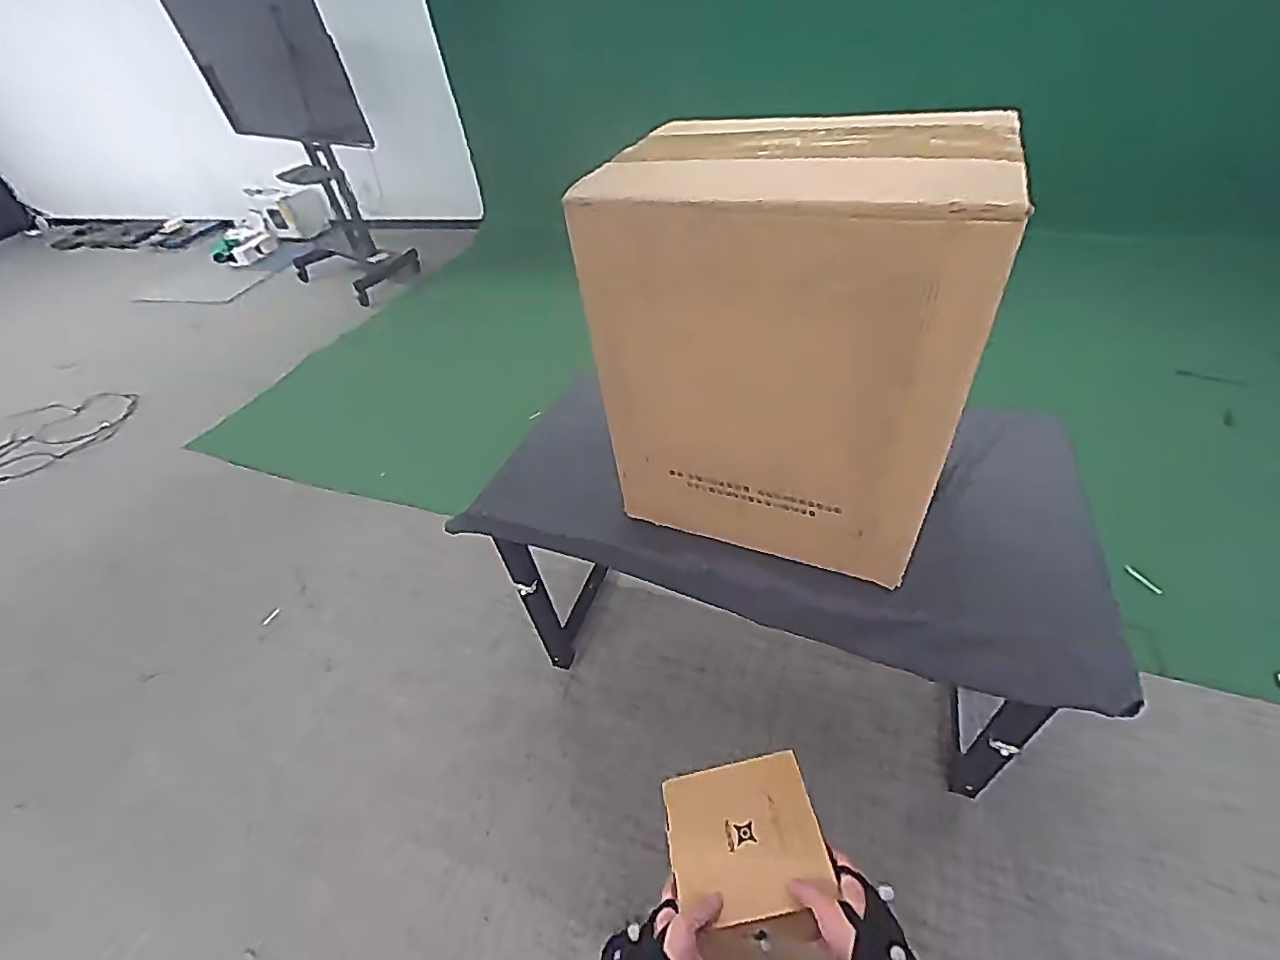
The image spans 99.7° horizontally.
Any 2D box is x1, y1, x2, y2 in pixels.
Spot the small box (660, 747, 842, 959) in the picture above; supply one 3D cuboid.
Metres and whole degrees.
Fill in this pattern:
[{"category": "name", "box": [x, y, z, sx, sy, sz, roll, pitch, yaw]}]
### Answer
[{"category": "small box", "box": [0.136, 0.473, 0.675, 0.179, 0.176, 0.168, -15, 33, 2]}]
